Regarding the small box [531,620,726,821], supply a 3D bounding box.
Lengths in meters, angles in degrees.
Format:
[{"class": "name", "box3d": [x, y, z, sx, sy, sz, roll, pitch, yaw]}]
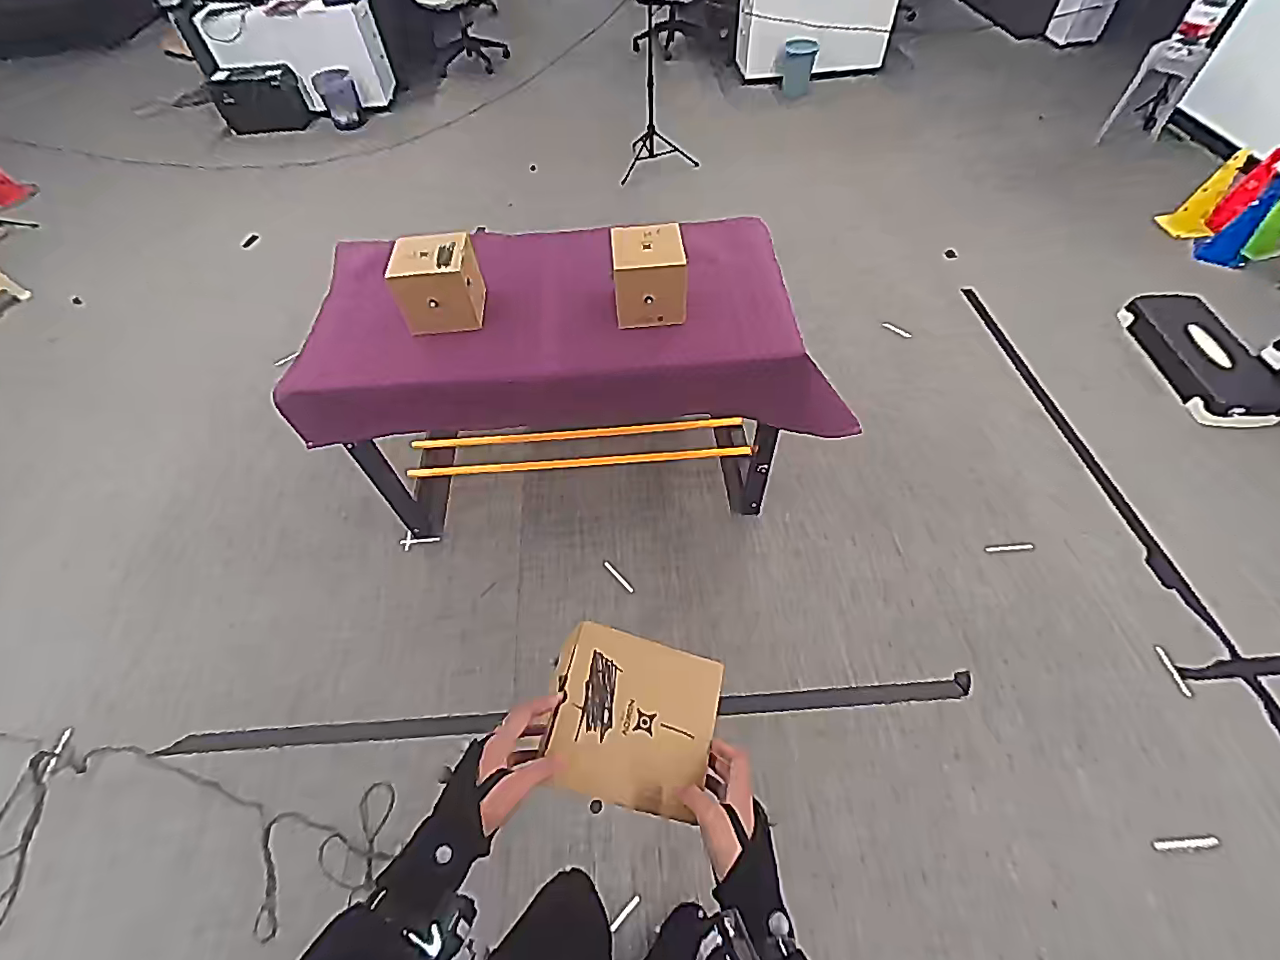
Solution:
[{"class": "small box", "box3d": [-0.021, 0.286, 0.651, 0.179, 0.176, 0.168, 20, 62, -7]}]

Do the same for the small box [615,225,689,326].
[{"class": "small box", "box3d": [0.029, -0.491, 1.319, 0.168, 0.176, 0.179, -4, 54, 0]}]
